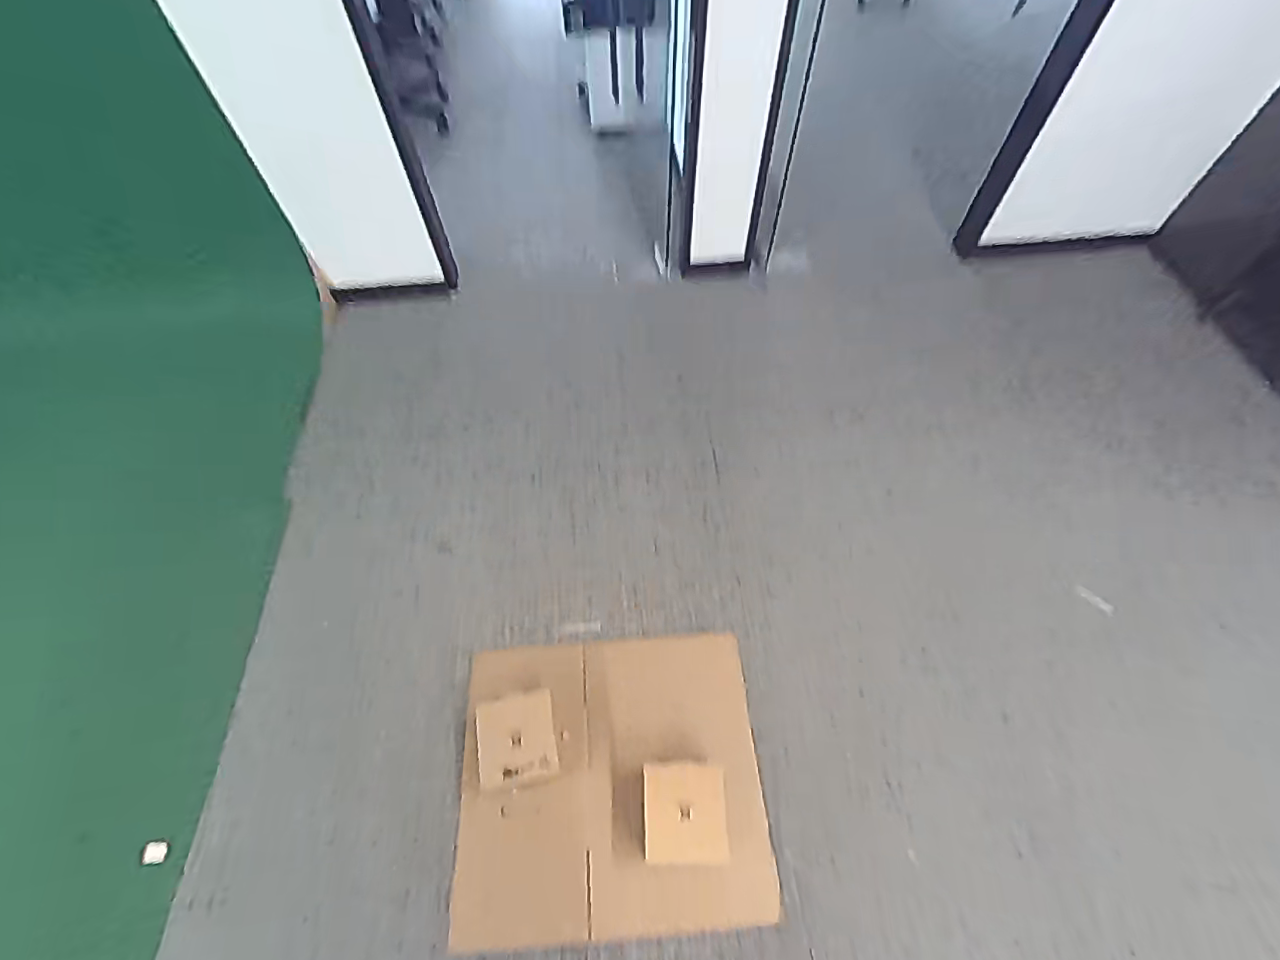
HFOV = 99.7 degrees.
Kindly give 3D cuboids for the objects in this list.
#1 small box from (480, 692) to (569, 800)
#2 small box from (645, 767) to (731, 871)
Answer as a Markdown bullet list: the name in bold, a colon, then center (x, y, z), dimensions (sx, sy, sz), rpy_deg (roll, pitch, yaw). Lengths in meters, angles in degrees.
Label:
- **small box**: center (-0.257, 0.601, 1.219), dimensions (0.168, 0.176, 0.179), rpy_deg (-10, 57, -6)
- **small box**: center (0.095, 0.712, 1.139), dimensions (0.168, 0.176, 0.179), rpy_deg (-1, 56, 0)
